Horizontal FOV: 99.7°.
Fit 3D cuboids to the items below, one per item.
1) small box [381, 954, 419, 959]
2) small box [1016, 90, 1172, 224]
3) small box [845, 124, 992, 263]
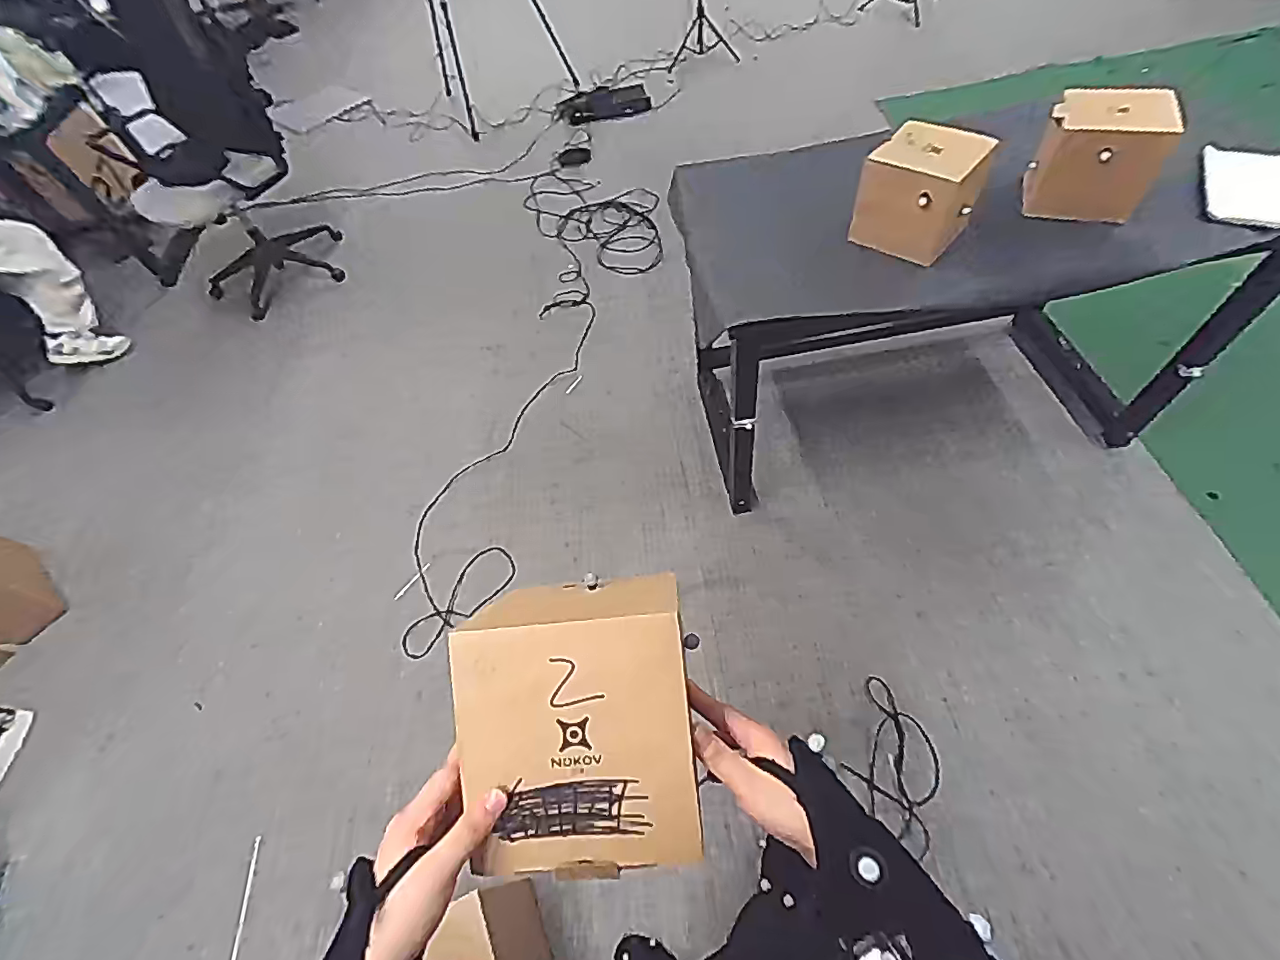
[{"bbox_3d":[-0.363,0.833,0.790,0.179,0.176,0.168,10,58,12],"label":"small box"},{"bbox_3d":[0.869,-0.624,1.050,0.179,0.176,0.168,14,59,19],"label":"small box"},{"bbox_3d":[0.531,-0.553,1.054,0.179,0.176,0.168,34,67,27],"label":"small box"}]
